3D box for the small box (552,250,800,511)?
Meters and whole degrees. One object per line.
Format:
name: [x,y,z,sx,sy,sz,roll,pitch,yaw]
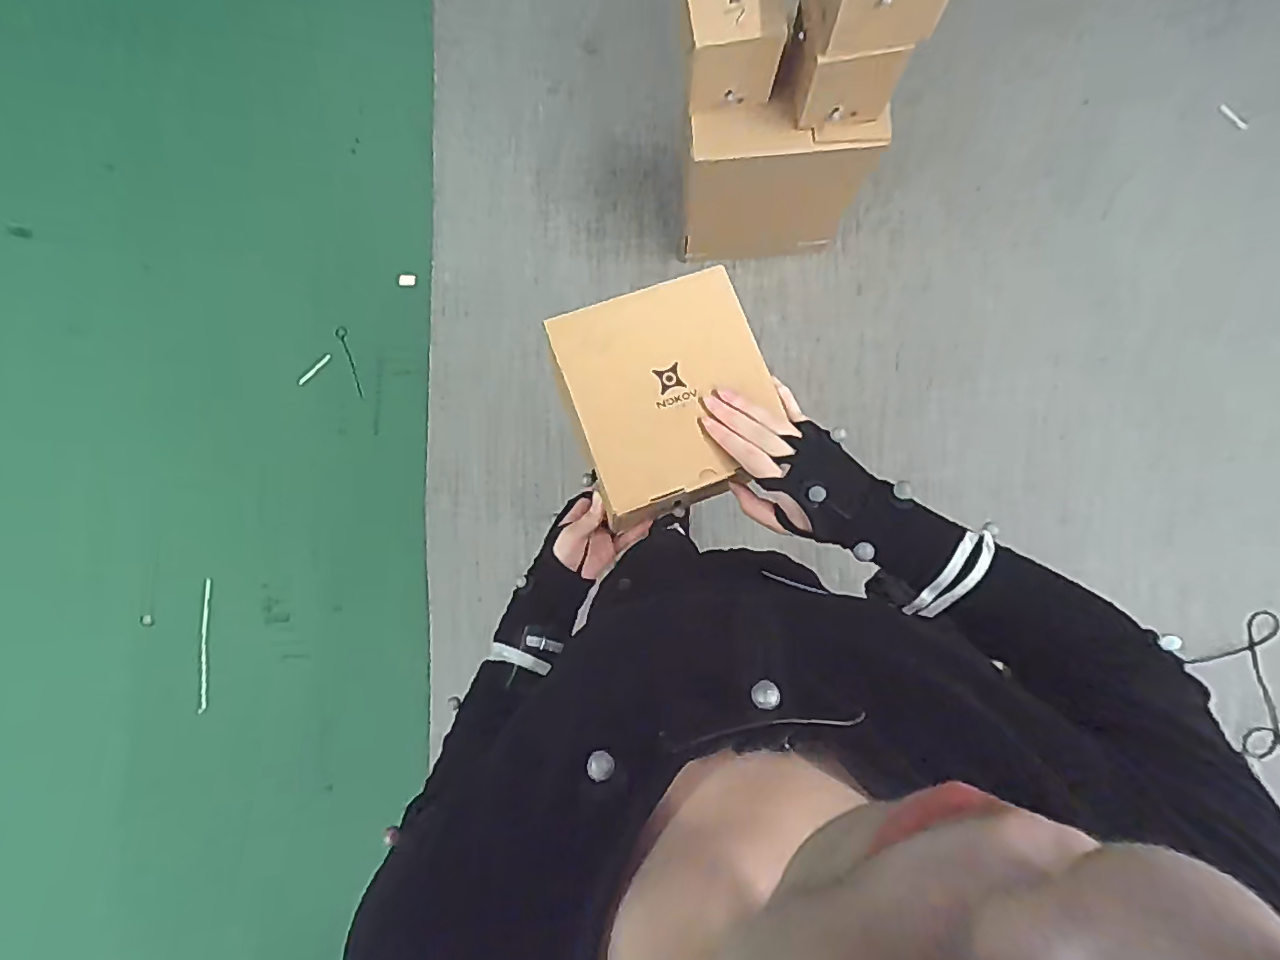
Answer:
small box: [0.022,-0.083,0.527,0.168,0.176,0.179,-20,83,-7]
